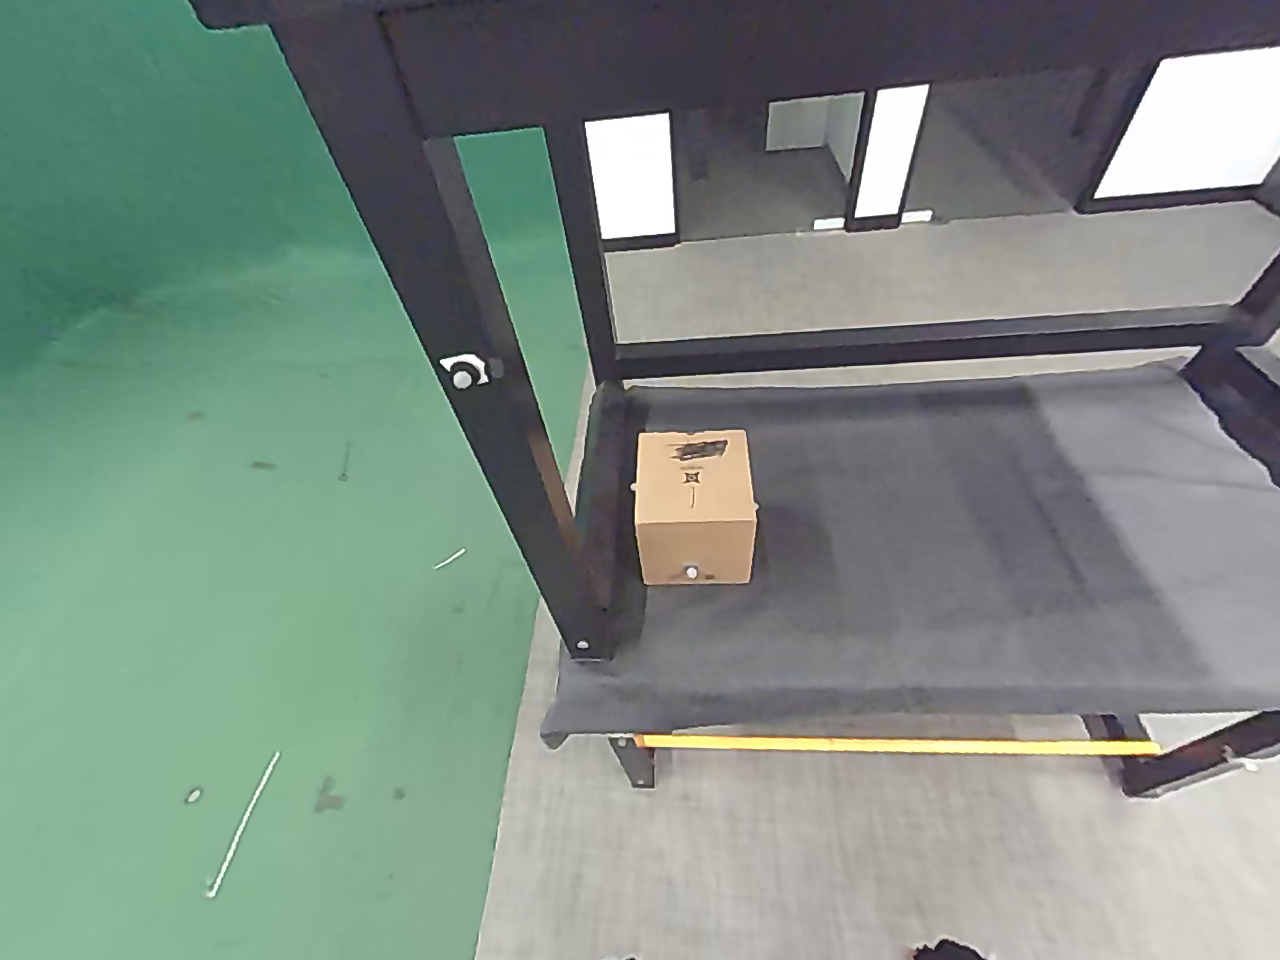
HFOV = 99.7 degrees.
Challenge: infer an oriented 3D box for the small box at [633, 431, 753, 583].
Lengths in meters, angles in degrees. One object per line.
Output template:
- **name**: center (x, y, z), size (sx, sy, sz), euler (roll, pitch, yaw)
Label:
- **small box**: center (0.082, 0.043, 0.848), size (0.168, 0.176, 0.179), euler (-2, 49, 6)
